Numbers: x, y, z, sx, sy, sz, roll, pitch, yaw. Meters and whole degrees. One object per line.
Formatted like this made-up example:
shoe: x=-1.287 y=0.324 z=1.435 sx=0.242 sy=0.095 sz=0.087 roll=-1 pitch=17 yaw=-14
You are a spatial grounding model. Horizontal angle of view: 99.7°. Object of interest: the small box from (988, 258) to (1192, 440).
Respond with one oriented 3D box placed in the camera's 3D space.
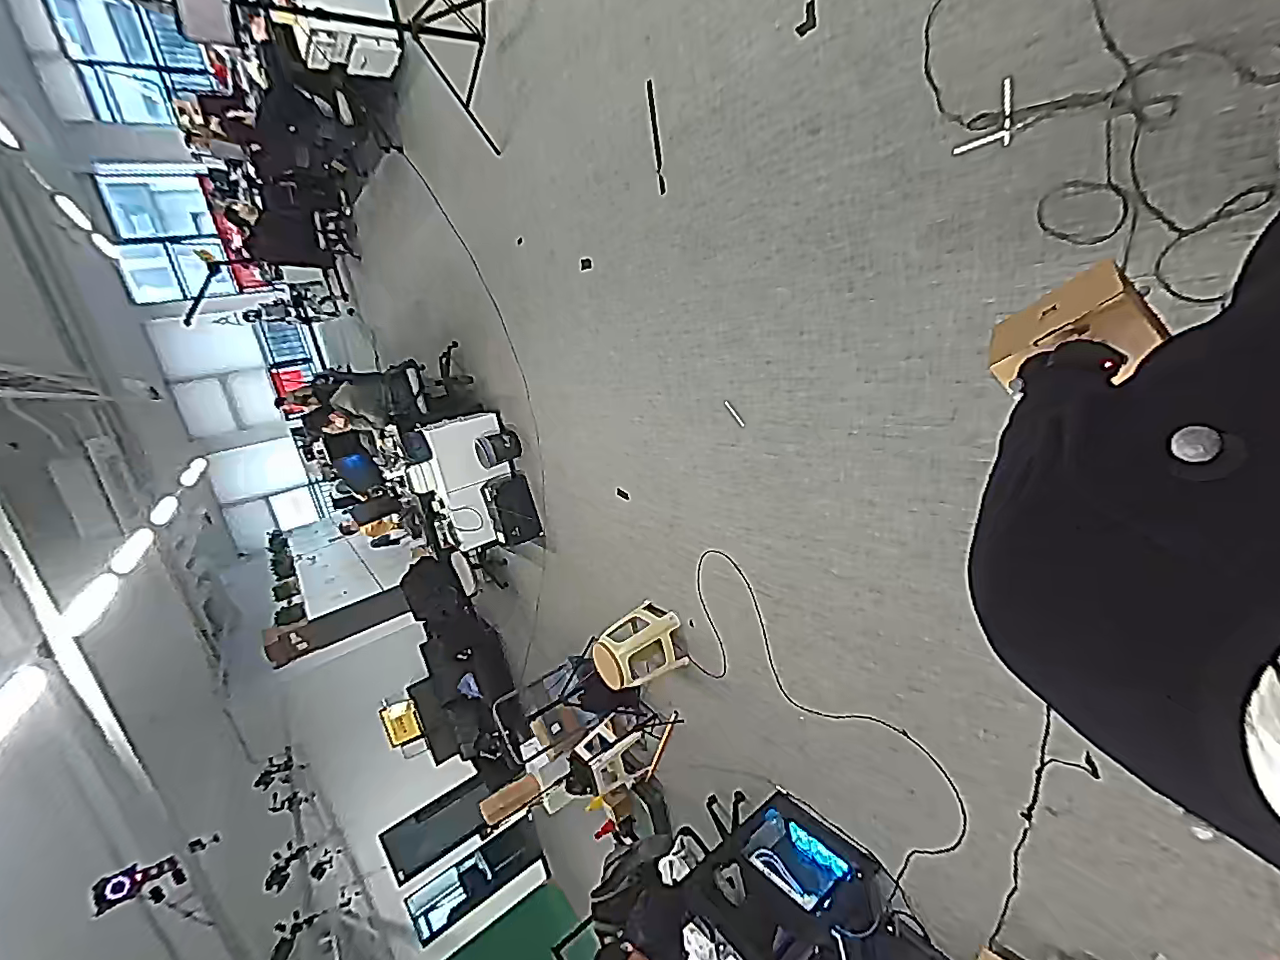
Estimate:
small box: x=0.642 y=-0.181 z=0.783 sx=0.176 sy=0.179 sz=0.168 roll=48 pitch=137 yaw=-5
